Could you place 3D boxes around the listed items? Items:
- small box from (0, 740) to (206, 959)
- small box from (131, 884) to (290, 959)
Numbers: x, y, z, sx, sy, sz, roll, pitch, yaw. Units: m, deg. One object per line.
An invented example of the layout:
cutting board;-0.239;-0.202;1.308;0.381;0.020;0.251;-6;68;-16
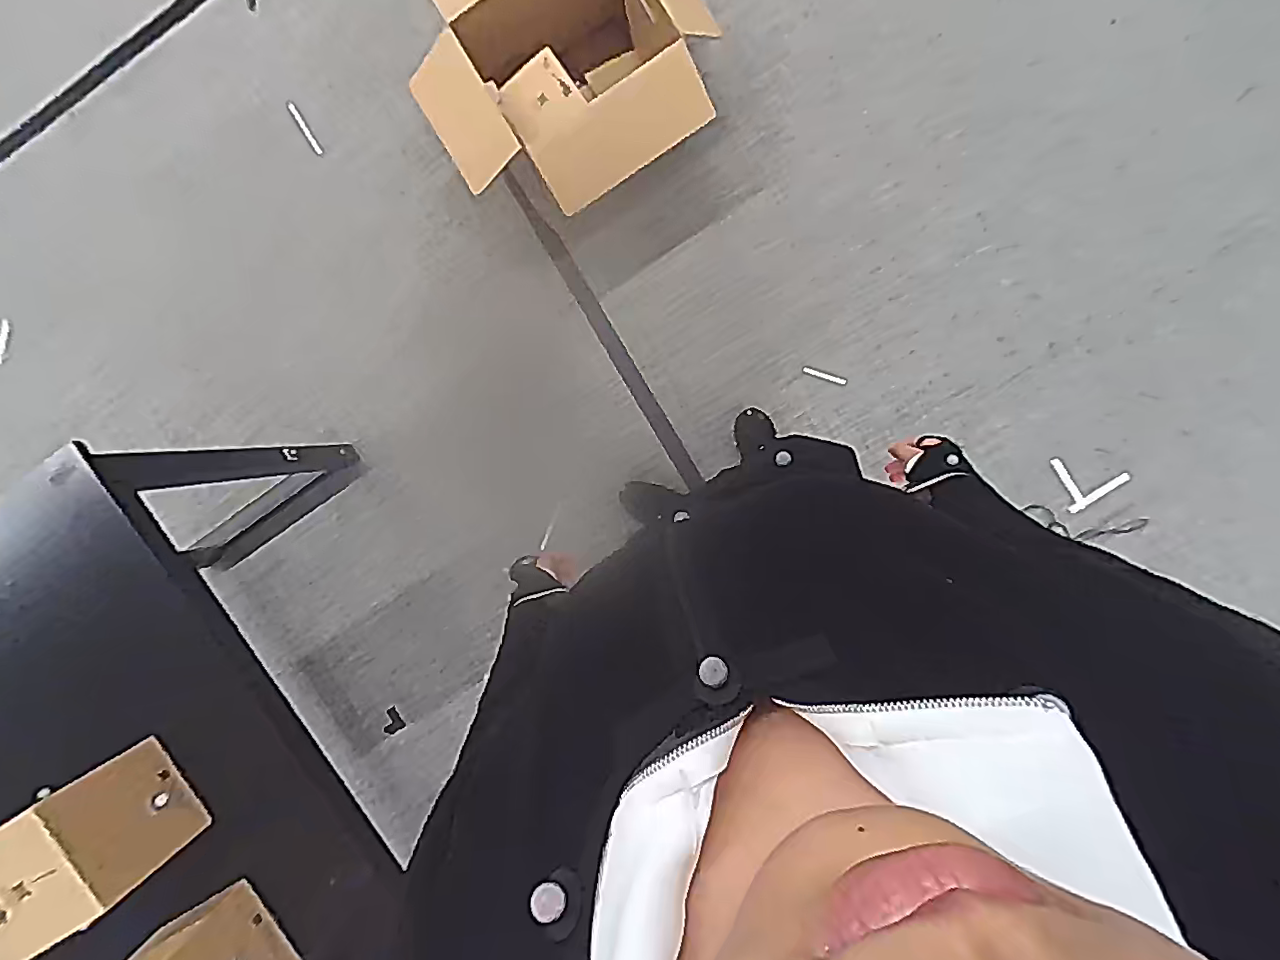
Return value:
small box;-0.786;0.515;0.768;0.179;0.176;0.168;-32;93;4
small box;-0.653;0.744;0.780;0.179;0.176;0.168;-32;92;5
